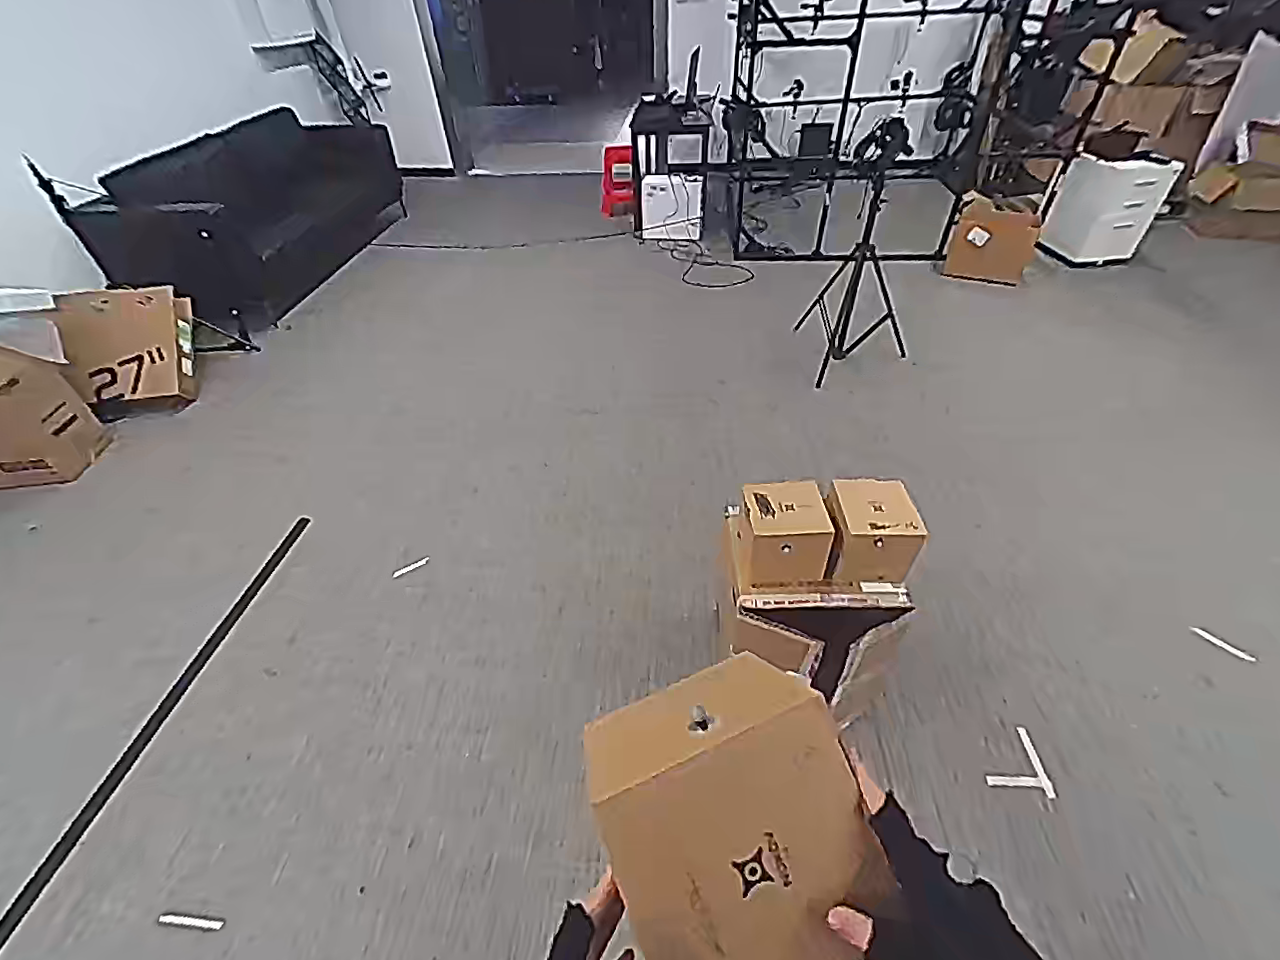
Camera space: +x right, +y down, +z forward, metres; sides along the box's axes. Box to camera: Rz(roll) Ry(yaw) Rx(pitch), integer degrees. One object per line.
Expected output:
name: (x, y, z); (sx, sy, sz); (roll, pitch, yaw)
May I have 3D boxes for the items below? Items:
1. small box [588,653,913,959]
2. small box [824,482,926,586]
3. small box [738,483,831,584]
small box: (0.066, 0.258, 0.433); (0.179, 0.176, 0.168); (-22, 85, -9)
small box: (0.524, 0.124, 1.254); (0.168, 0.176, 0.179); (1, 41, 1)
small box: (0.326, 0.127, 1.259); (0.179, 0.176, 0.168); (-3, 41, 1)
